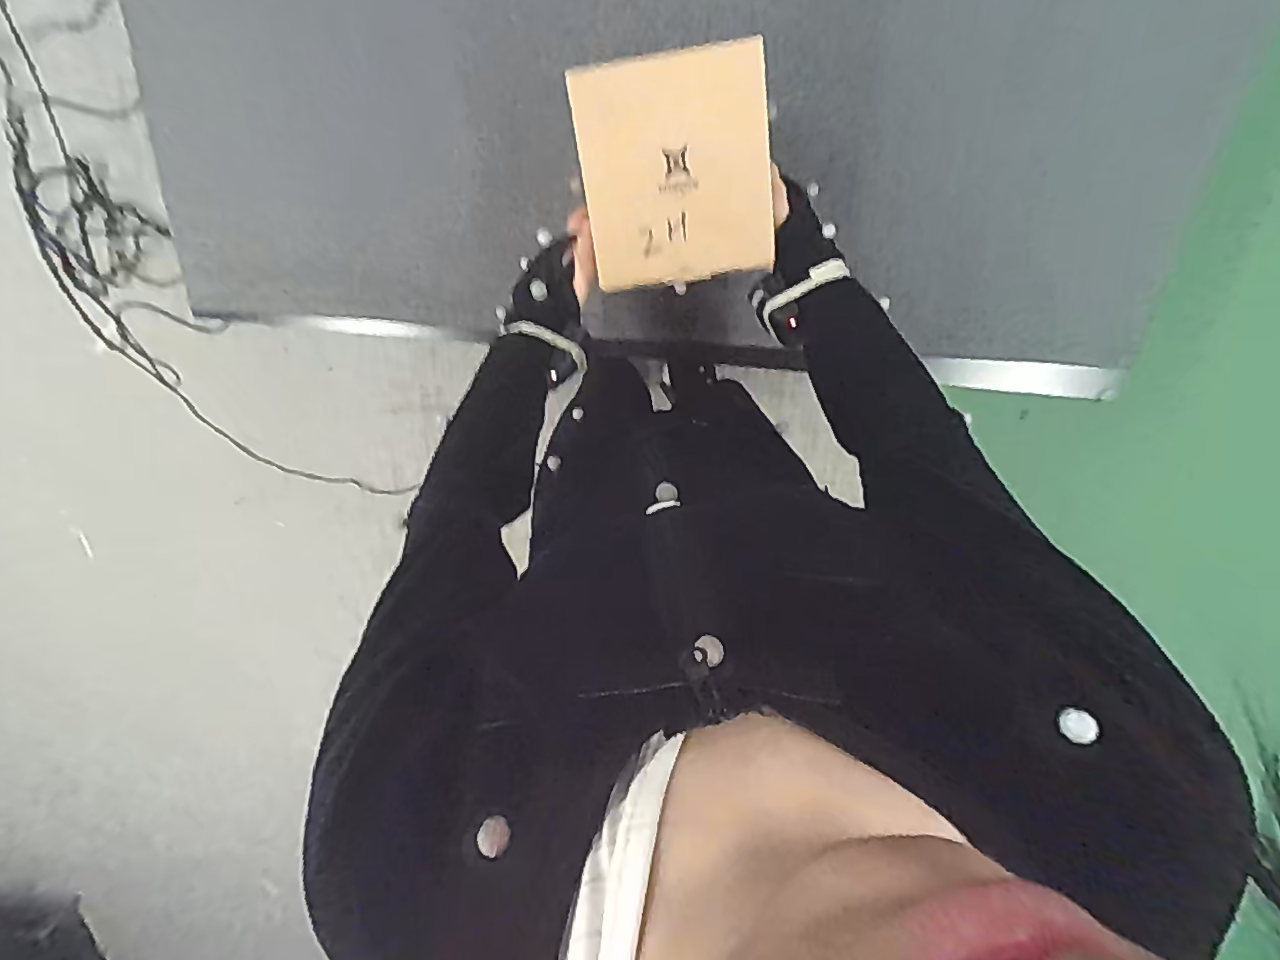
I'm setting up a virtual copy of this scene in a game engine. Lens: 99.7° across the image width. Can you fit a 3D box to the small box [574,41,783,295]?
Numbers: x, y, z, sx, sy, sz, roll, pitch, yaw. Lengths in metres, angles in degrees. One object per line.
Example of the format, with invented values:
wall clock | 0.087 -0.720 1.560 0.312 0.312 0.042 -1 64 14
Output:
small box | 0.036 -0.287 0.540 0.168 0.176 0.179 -9 110 3
